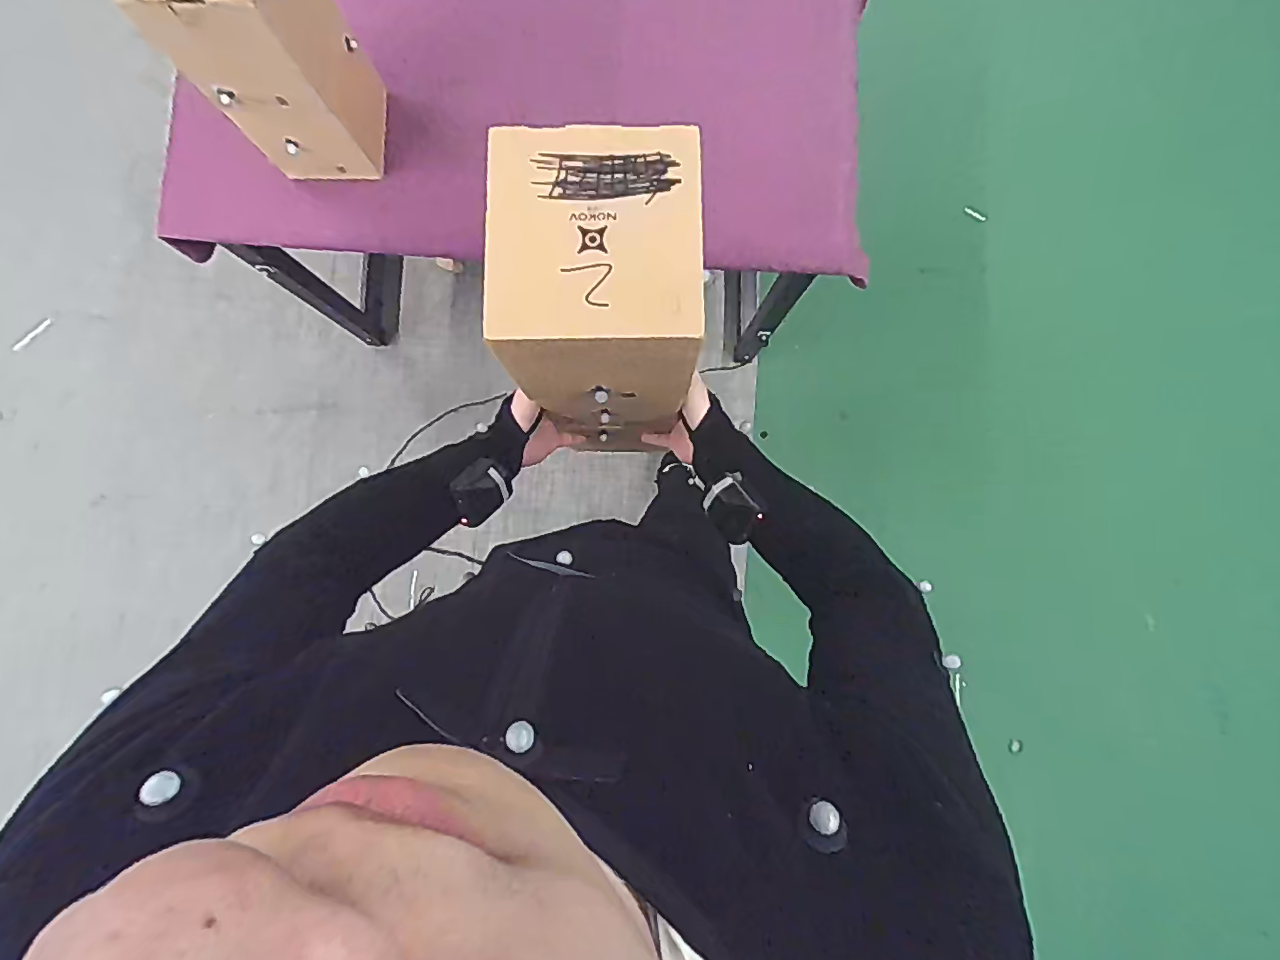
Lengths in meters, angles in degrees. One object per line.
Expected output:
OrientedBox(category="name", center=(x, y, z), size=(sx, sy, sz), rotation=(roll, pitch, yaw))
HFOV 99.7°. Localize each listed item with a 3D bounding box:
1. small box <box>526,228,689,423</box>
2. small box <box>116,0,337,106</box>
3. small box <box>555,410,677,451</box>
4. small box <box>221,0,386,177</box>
OrientedBox(category="small box", center=(-0.032, -0.171, 0.647), size=(0.168, 0.176, 0.179), rotation=(3, 82, 1))
OrientedBox(category="small box", center=(-0.524, -0.629, 0.707), size=(0.168, 0.176, 0.179), rotation=(1, 84, -1))
OrientedBox(category="small box", center=(-0.030, -0.148, 0.811), size=(0.168, 0.176, 0.179), rotation=(1, 82, 1))
OrientedBox(category="small box", center=(-0.528, -0.618, 0.871), size=(0.168, 0.176, 0.179), rotation=(0, 85, -1))
